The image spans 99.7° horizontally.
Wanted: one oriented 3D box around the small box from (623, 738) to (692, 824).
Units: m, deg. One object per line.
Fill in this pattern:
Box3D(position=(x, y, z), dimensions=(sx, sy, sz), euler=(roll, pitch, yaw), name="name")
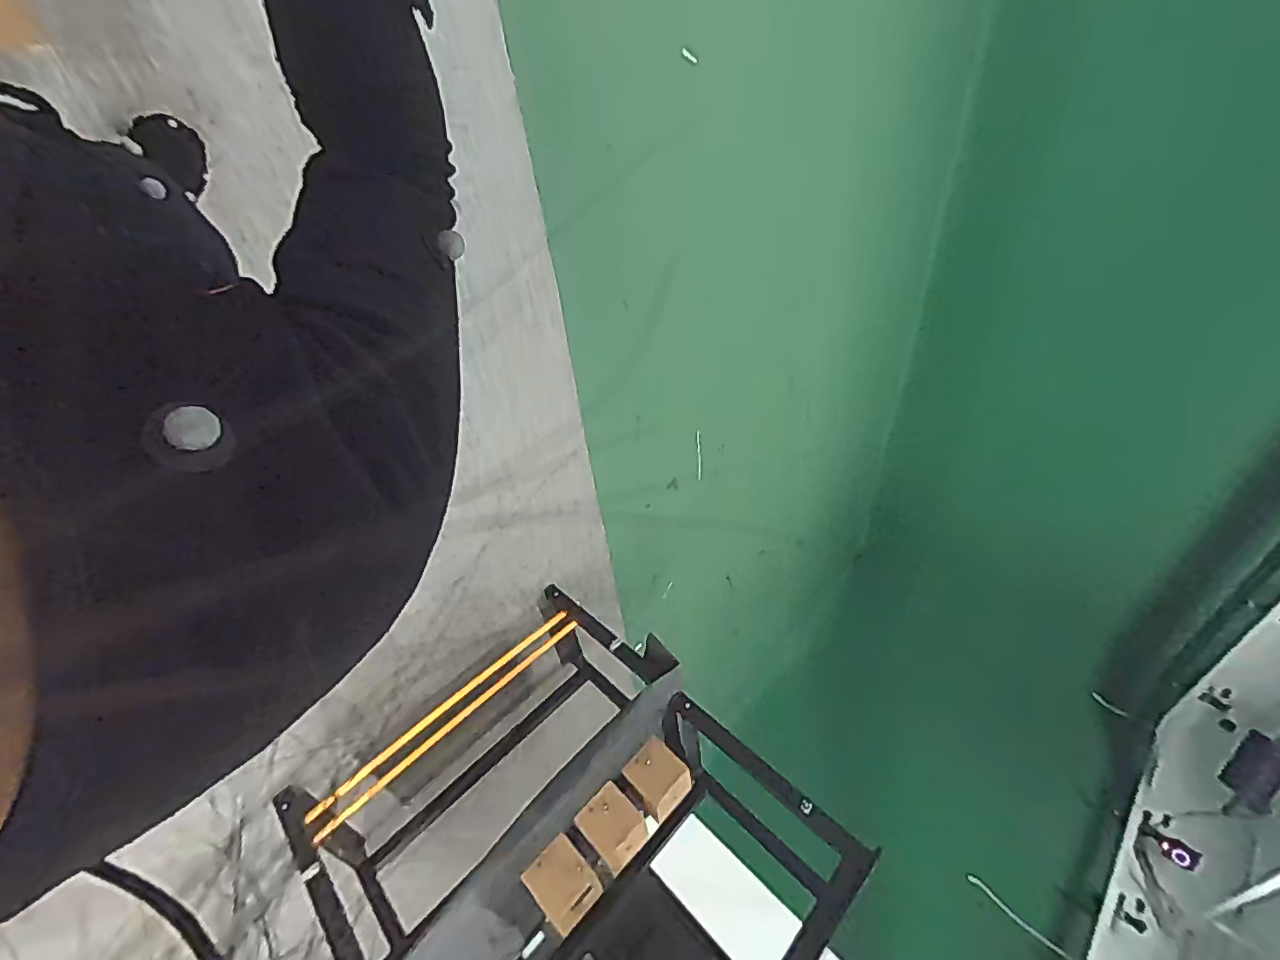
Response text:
Box3D(position=(0.062, 1.037, 1.875), dimensions=(0.168, 0.176, 0.179), euler=(-37, 137, -29), name="small box")
